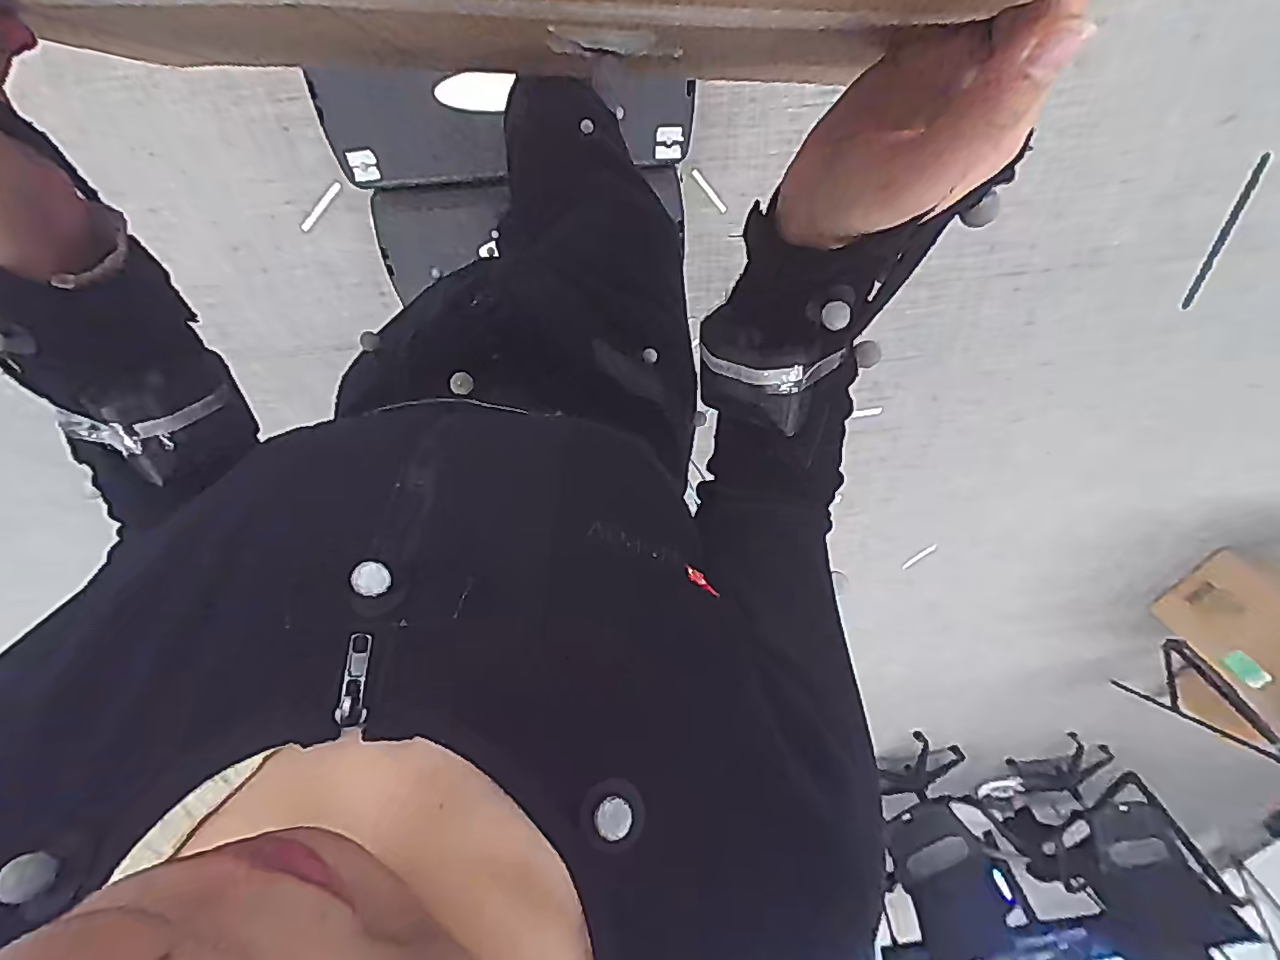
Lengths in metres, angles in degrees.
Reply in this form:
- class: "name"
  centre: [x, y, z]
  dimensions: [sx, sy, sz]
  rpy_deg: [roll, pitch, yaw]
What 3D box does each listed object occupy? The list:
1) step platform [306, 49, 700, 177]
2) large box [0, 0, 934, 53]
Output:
- class: "step platform"
  centre: [-0.231, -0.739, 1.005]
  dimensions: [0.684, 0.204, 0.286]
  rpy_deg: [-3, 128, -6]
- class: "large box"
  centre: [-0.088, -0.302, 0.099]
  dimensions: [0.408, 0.320, 0.320]
  rpy_deg: [1, 120, 2]
